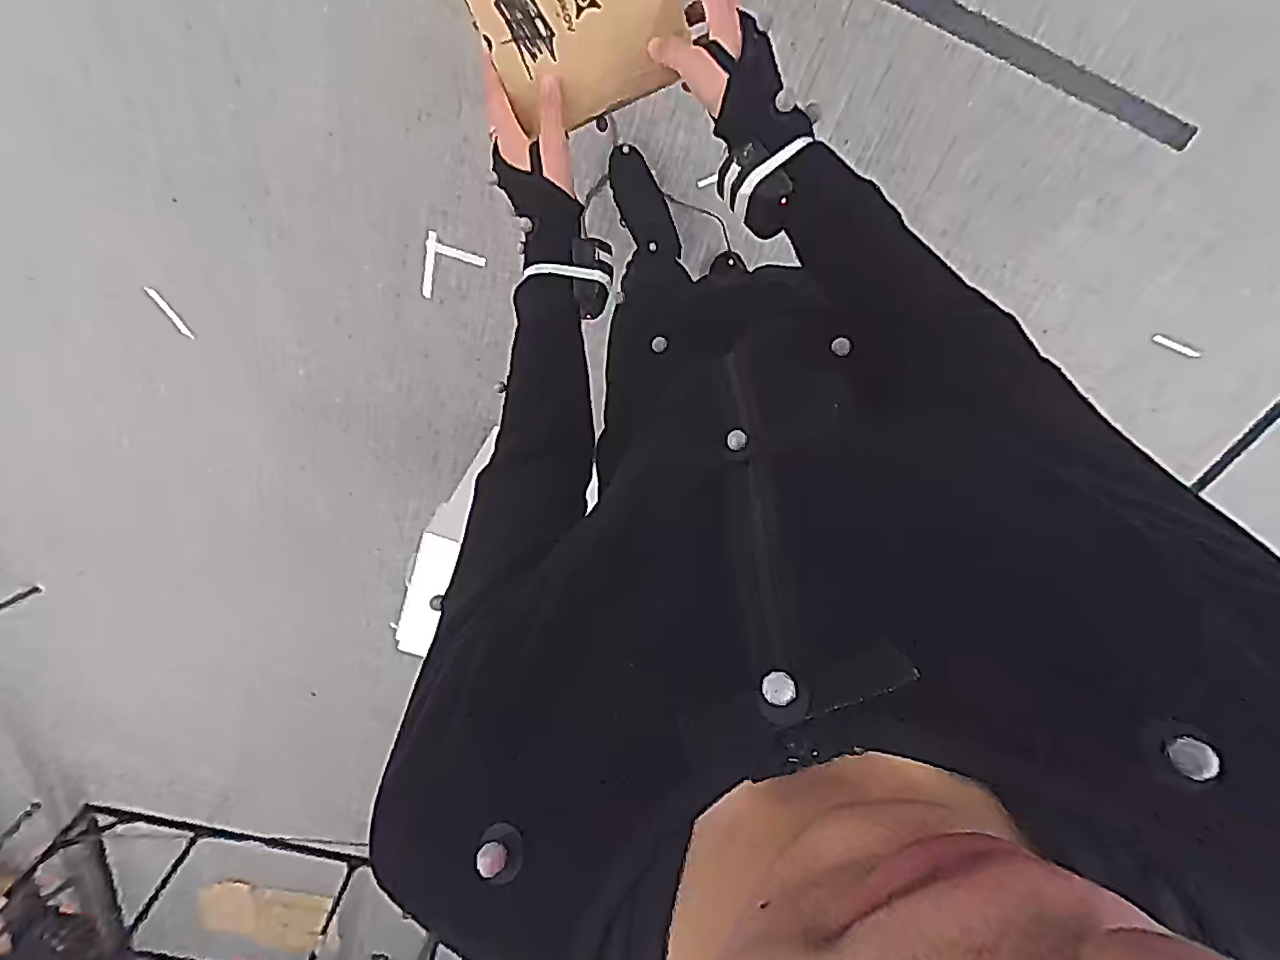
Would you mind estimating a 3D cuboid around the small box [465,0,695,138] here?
[{"bbox_3d":[-0.060,-0.454,0.527,0.179,0.176,0.168,-19,122,7],"label":"small box"}]
